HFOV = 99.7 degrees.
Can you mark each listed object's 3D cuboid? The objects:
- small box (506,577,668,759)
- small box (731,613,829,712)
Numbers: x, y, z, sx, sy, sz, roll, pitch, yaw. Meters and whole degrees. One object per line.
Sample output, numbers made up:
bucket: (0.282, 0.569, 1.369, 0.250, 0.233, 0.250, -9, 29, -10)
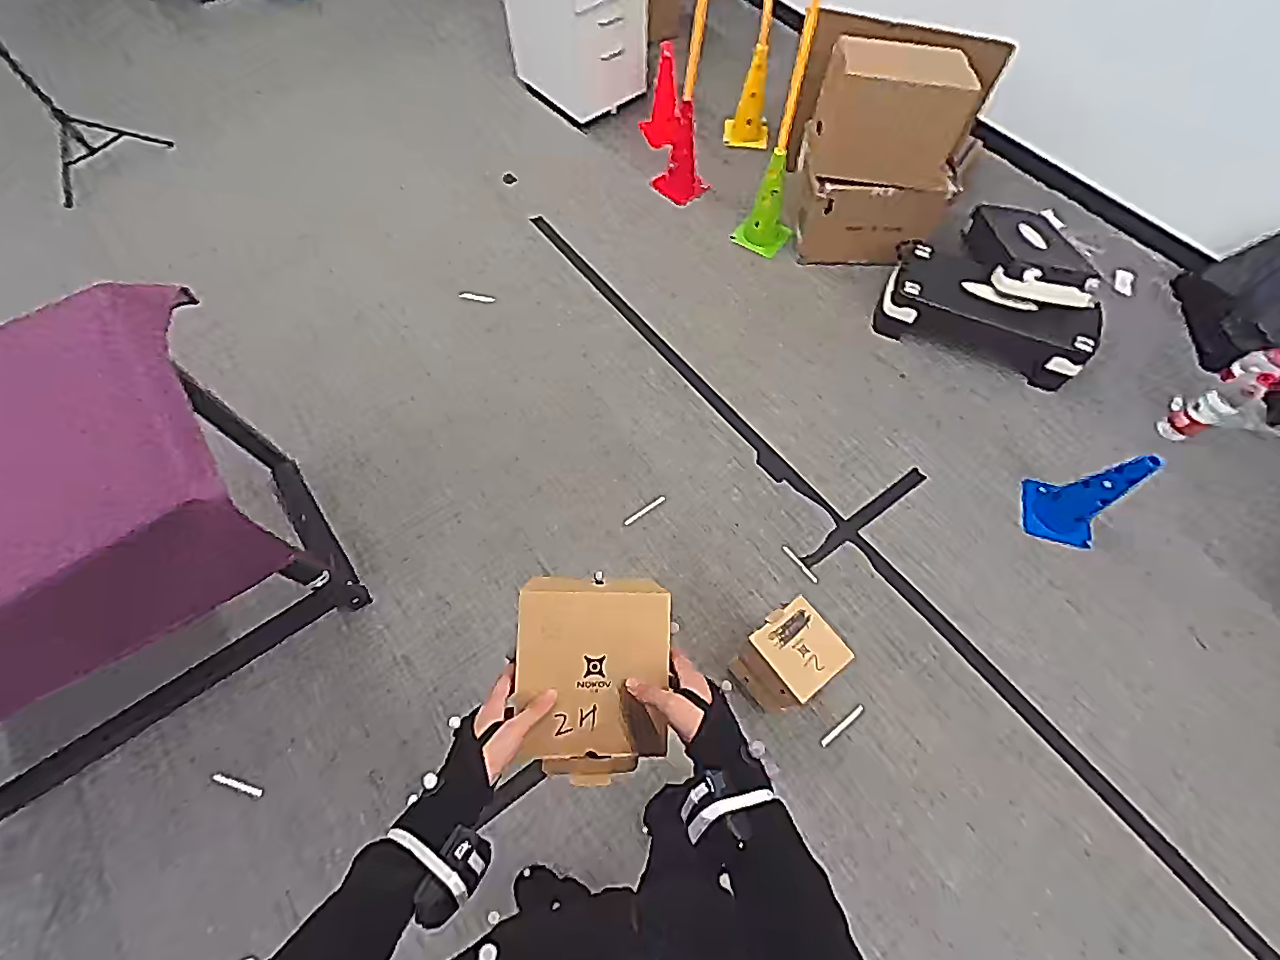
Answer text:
small box: (-0.063, 0.211, 0.650, 0.168, 0.176, 0.179, 3, 85, -6)
small box: (0.354, 0.480, 1.407, 0.179, 0.176, 0.168, -37, 70, -17)
